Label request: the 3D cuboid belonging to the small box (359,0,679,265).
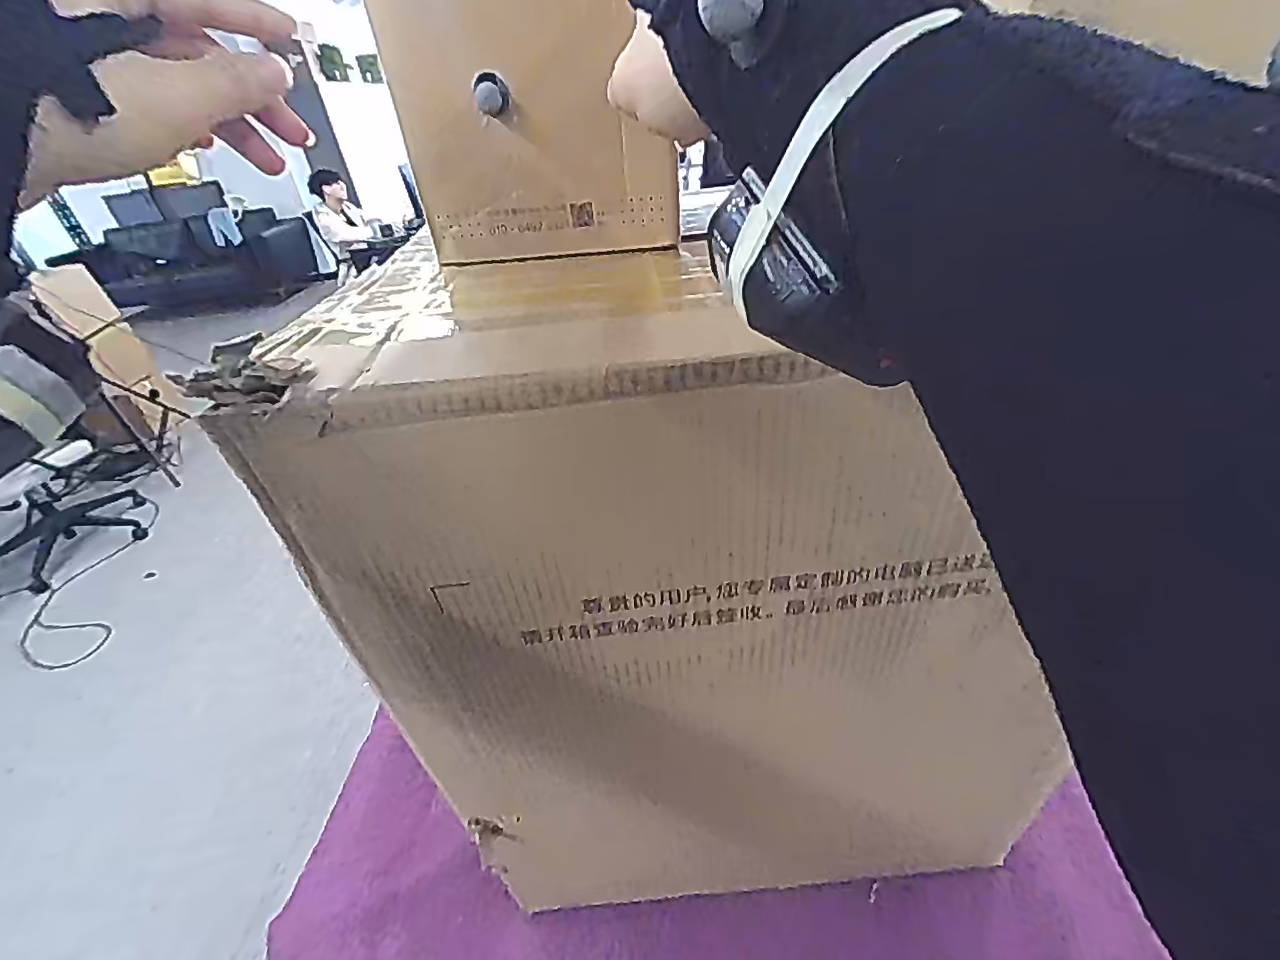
[{"bbox_3d":[-0.061,-0.259,0.387,0.168,0.176,0.179,-4,35,4],"label":"small box"}]
